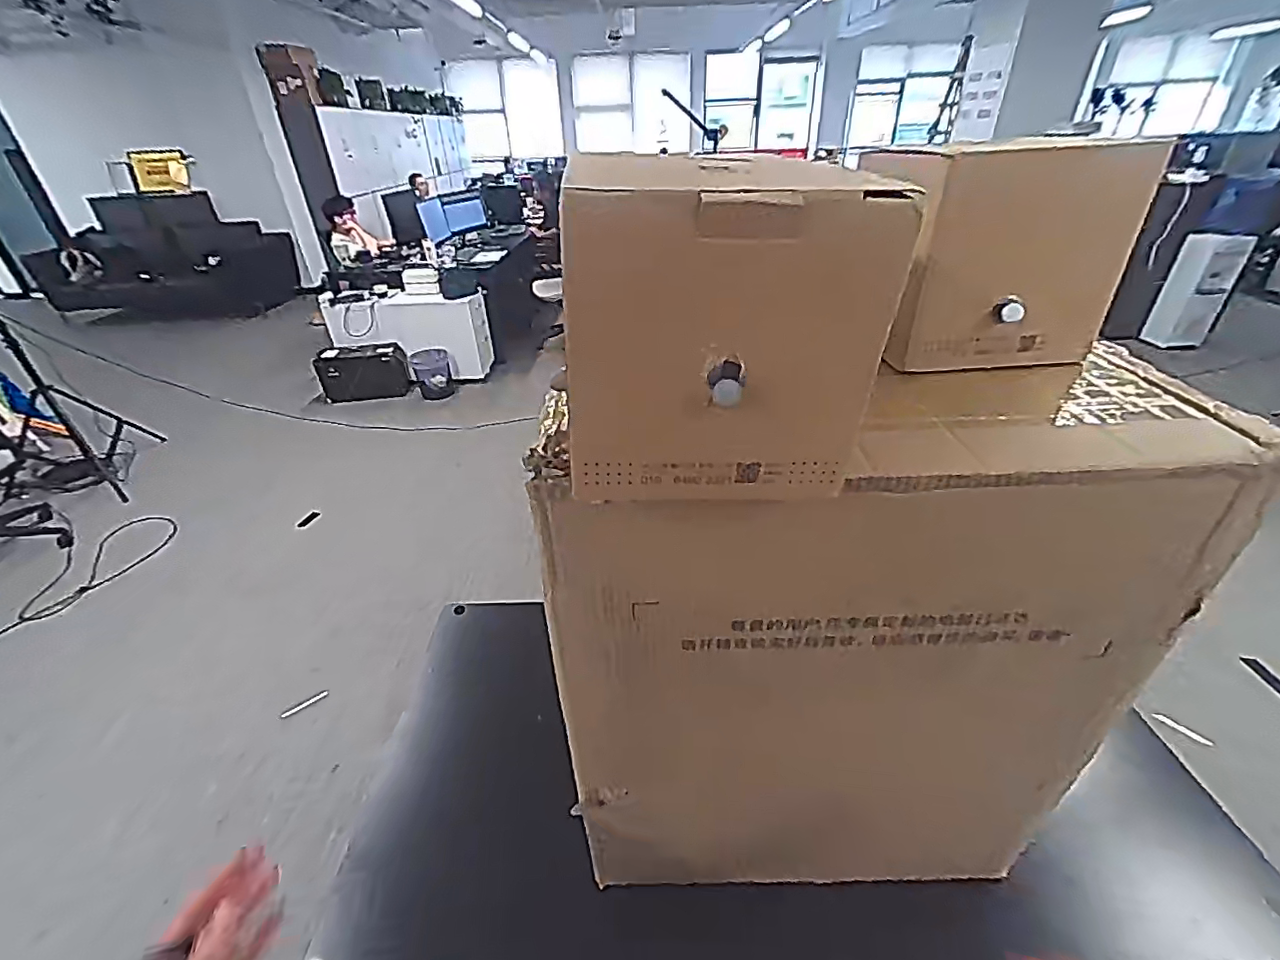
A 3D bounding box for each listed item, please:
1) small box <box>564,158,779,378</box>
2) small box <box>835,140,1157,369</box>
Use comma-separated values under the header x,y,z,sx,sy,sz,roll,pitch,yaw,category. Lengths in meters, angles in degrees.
x,y,z,sx,sy,sz,roll,pitch,yaw,category
0.023,-0.206,0.517,0.168,0.176,0.179,-3,33,-1,small box
0.296,-0.213,0.505,0.168,0.176,0.179,-4,32,0,small box
